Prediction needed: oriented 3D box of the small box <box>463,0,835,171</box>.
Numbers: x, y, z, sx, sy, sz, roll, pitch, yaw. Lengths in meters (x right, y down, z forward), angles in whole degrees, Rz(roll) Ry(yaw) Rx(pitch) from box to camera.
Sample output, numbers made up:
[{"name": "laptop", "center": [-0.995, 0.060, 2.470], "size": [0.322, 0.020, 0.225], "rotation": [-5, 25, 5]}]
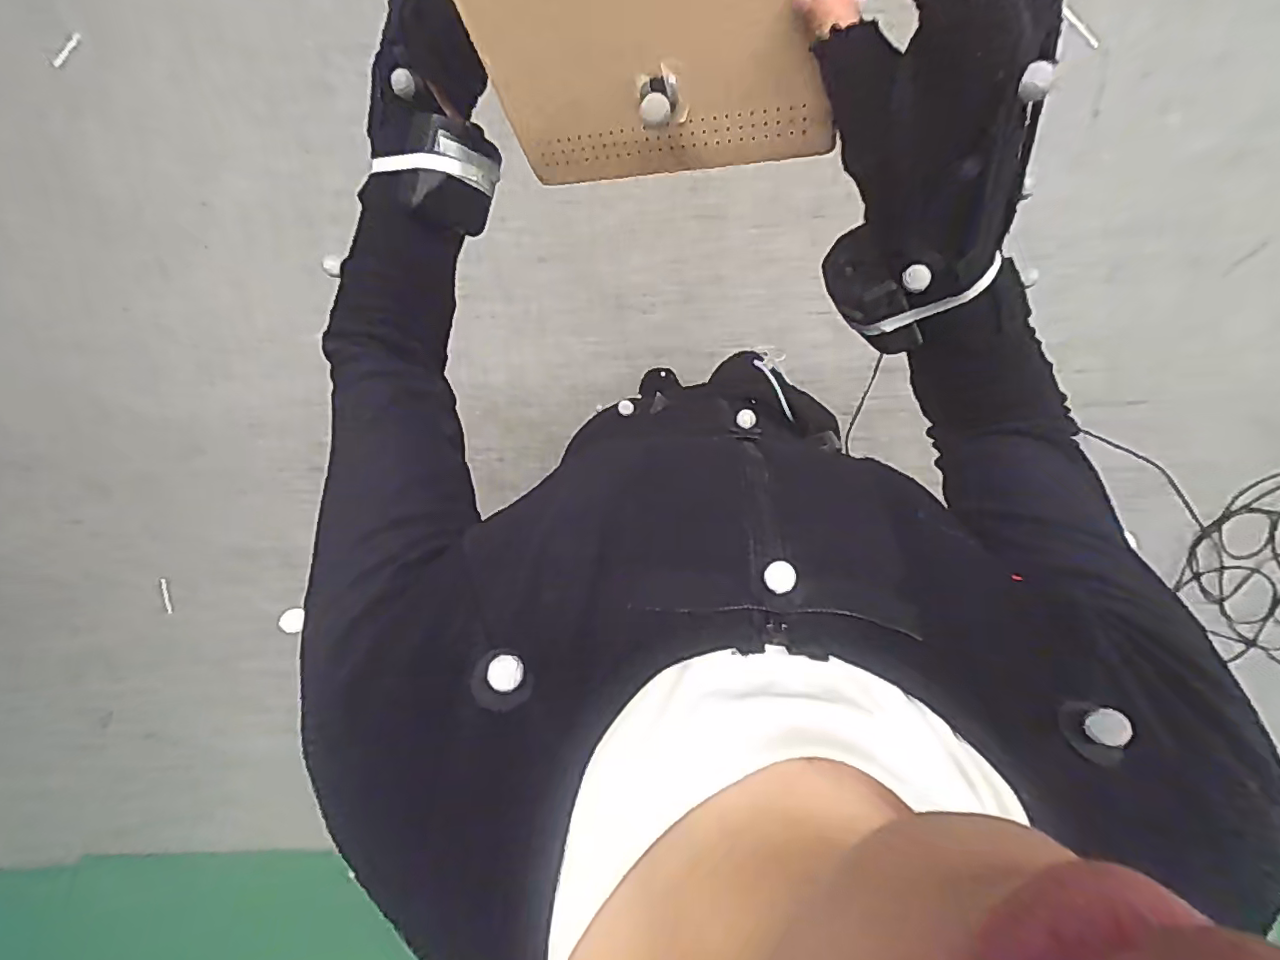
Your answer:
[{"name": "small box", "center": [0.013, -0.292, 0.278], "size": [0.179, 0.176, 0.168], "rotation": [5, 66, 18]}]
